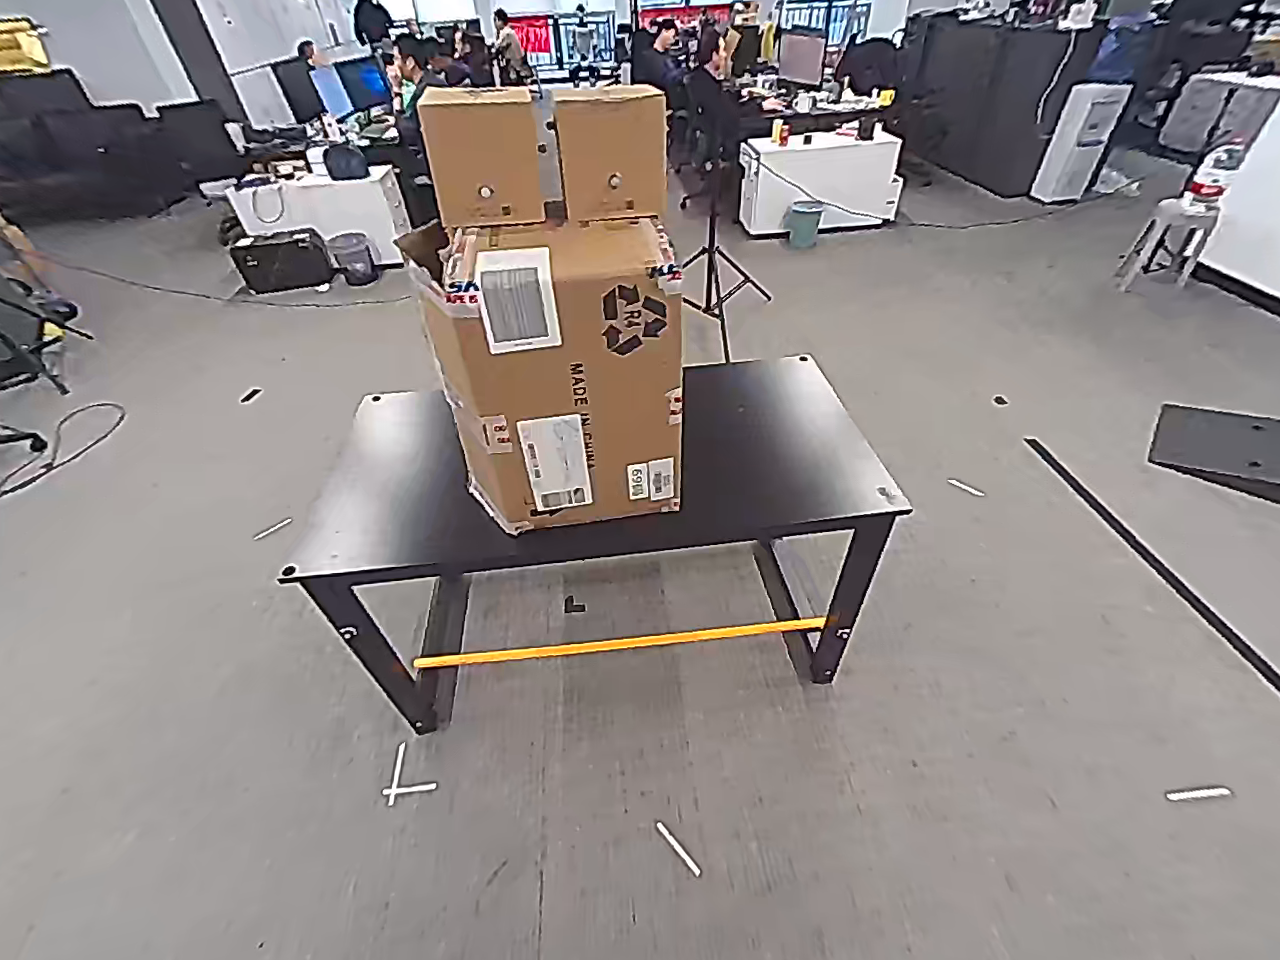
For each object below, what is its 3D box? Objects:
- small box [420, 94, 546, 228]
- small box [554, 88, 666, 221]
[{"bbox_3d":[-0.249,-0.526,0.892,0.168,0.176,0.179,-8,41,-9],"label":"small box"},{"bbox_3d":[-0.052,-0.549,0.912,0.168,0.176,0.179,-8,41,-5],"label":"small box"}]
